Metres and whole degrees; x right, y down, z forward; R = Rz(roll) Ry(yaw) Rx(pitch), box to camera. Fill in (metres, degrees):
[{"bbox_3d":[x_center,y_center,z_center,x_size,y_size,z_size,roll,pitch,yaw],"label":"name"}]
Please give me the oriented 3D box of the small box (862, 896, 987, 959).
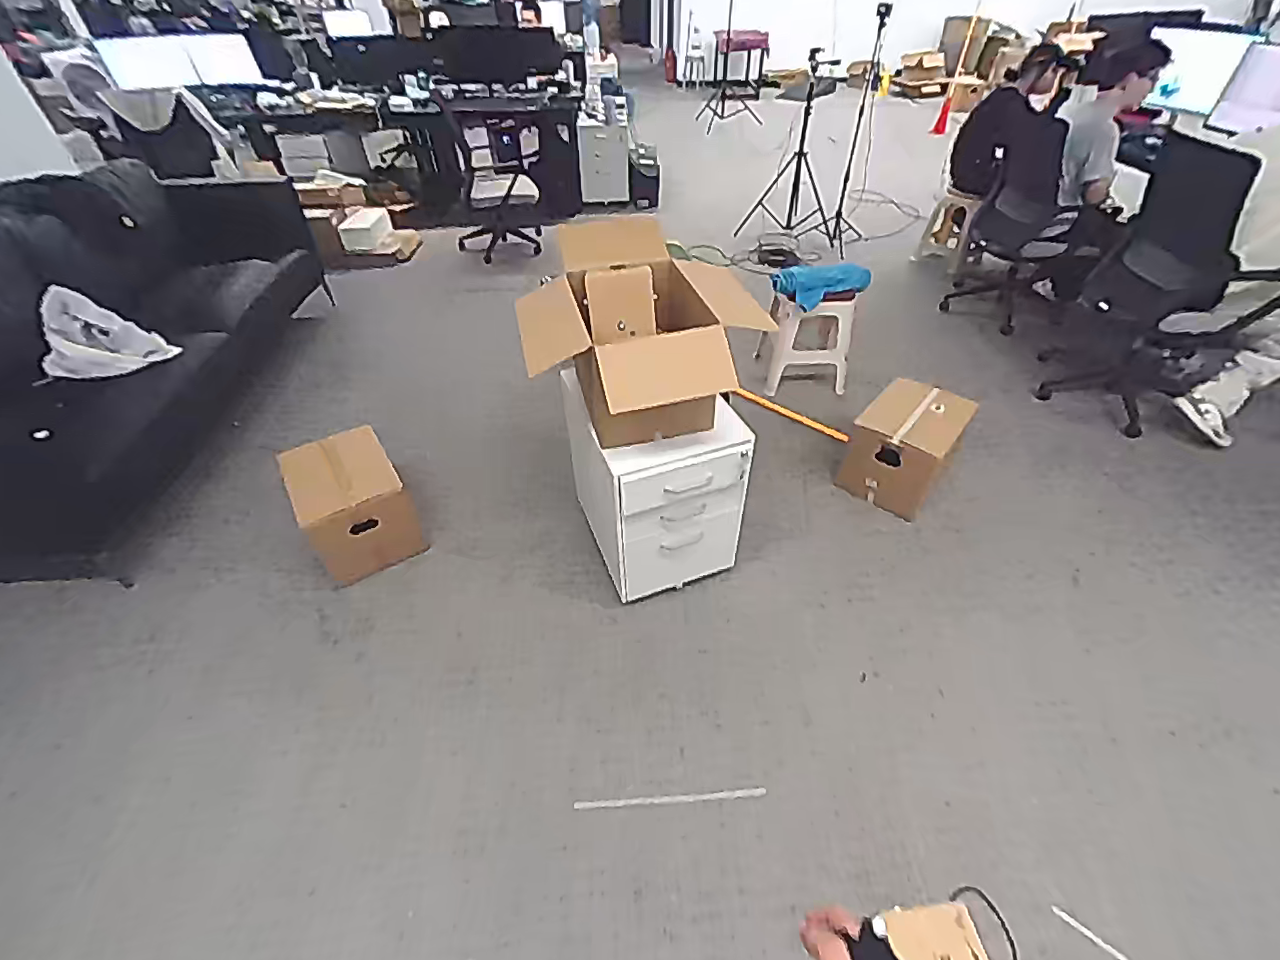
[{"bbox_3d":[0.551,0.935,1.051,0.179,0.176,0.168,-5,44,-3],"label":"small box"}]
